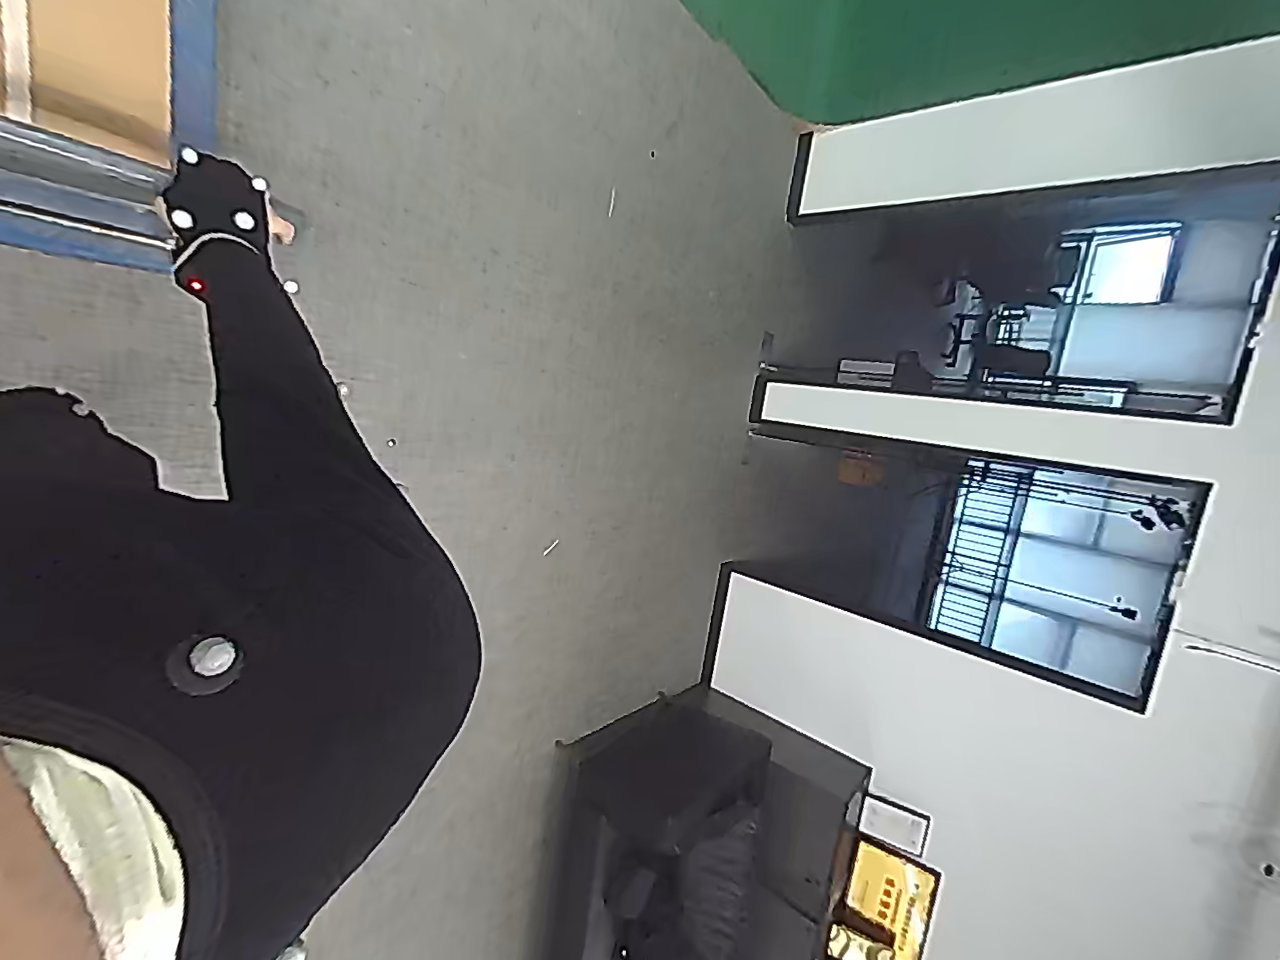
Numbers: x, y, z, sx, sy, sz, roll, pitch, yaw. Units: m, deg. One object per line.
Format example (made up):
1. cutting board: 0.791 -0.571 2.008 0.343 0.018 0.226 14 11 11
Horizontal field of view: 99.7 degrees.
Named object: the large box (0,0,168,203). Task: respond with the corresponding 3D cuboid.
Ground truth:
1. large box: -0.922 -0.677 0.782 0.320 0.320 0.408 -4 104 -50
